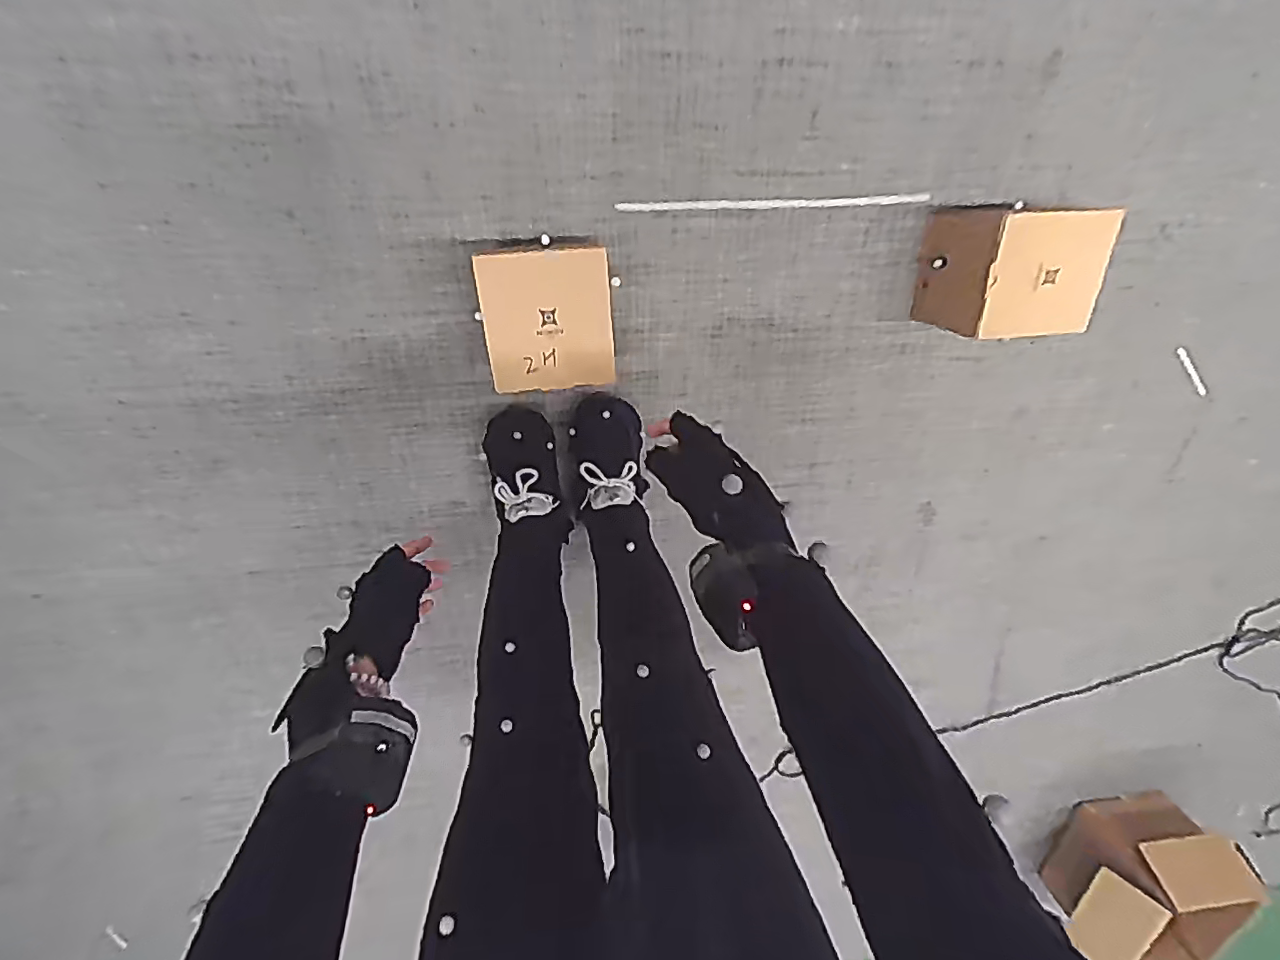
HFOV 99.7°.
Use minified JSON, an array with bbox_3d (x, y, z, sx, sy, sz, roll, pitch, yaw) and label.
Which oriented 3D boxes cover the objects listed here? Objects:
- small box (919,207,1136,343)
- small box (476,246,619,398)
[{"bbox_3d":[0.557,-0.310,0.805,0.179,0.176,0.168,-5,118,-4],"label":"small box"},{"bbox_3d":[-0.122,-0.228,0.752,0.168,0.176,0.179,-6,117,-5],"label":"small box"}]
